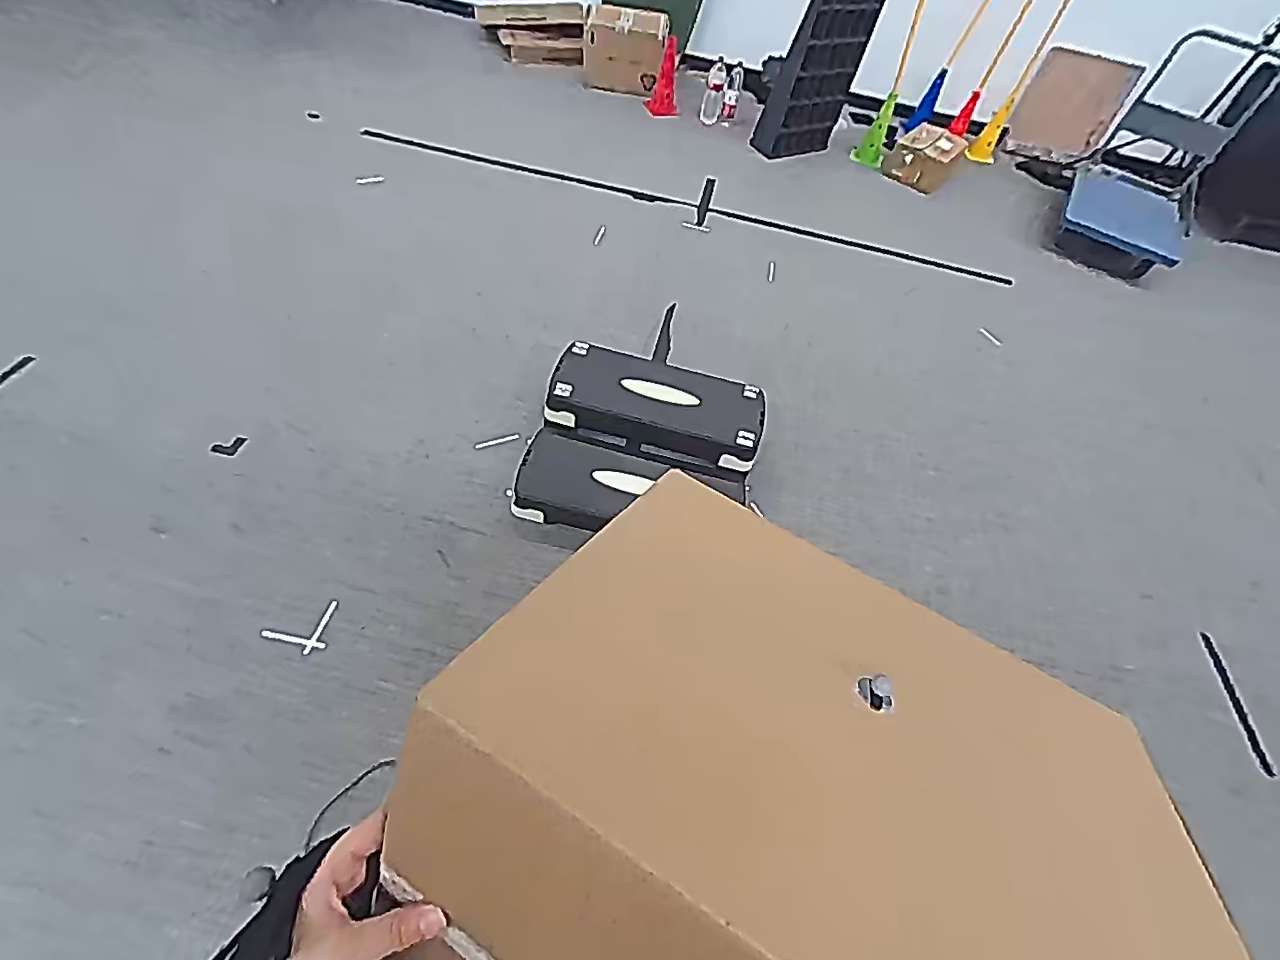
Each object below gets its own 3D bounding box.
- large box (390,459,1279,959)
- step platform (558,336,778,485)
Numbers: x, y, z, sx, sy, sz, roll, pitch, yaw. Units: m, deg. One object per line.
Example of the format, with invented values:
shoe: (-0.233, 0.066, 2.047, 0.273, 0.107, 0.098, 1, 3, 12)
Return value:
large box: (0.102, 0.237, 0.386, 0.408, 0.320, 0.320, 29, 31, 13)
step platform: (0.089, -0.221, 1.726, 0.684, 0.204, 0.286, 20, 54, 4)
